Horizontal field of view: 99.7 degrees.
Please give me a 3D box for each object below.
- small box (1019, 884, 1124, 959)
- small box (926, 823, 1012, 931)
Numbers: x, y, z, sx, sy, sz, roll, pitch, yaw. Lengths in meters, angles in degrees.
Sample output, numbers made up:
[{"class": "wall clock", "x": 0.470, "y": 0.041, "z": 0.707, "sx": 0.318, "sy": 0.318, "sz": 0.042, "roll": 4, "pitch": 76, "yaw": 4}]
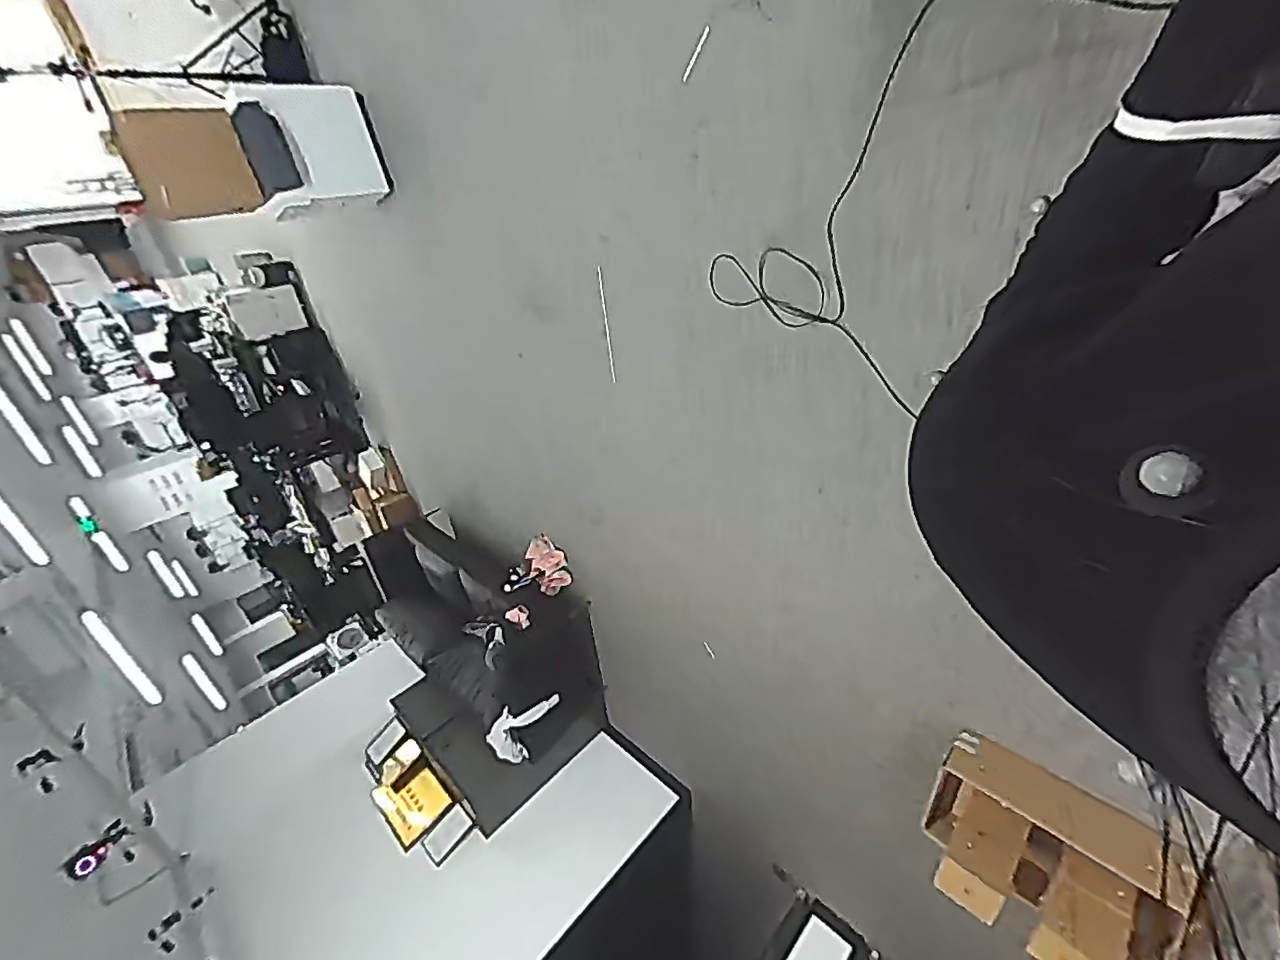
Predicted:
[{"class": "small box", "x": 1.186, "y": 1.278, "z": 1.486, "sx": 0.179, "sy": 0.176, "sz": 0.168, "roll": 23, "pitch": 129, "yaw": 41}, {"class": "small box", "x": 1.006, "y": 1.203, "z": 1.651, "sx": 0.168, "sy": 0.176, "sz": 0.179, "roll": 24, "pitch": 130, "yaw": 39}]
